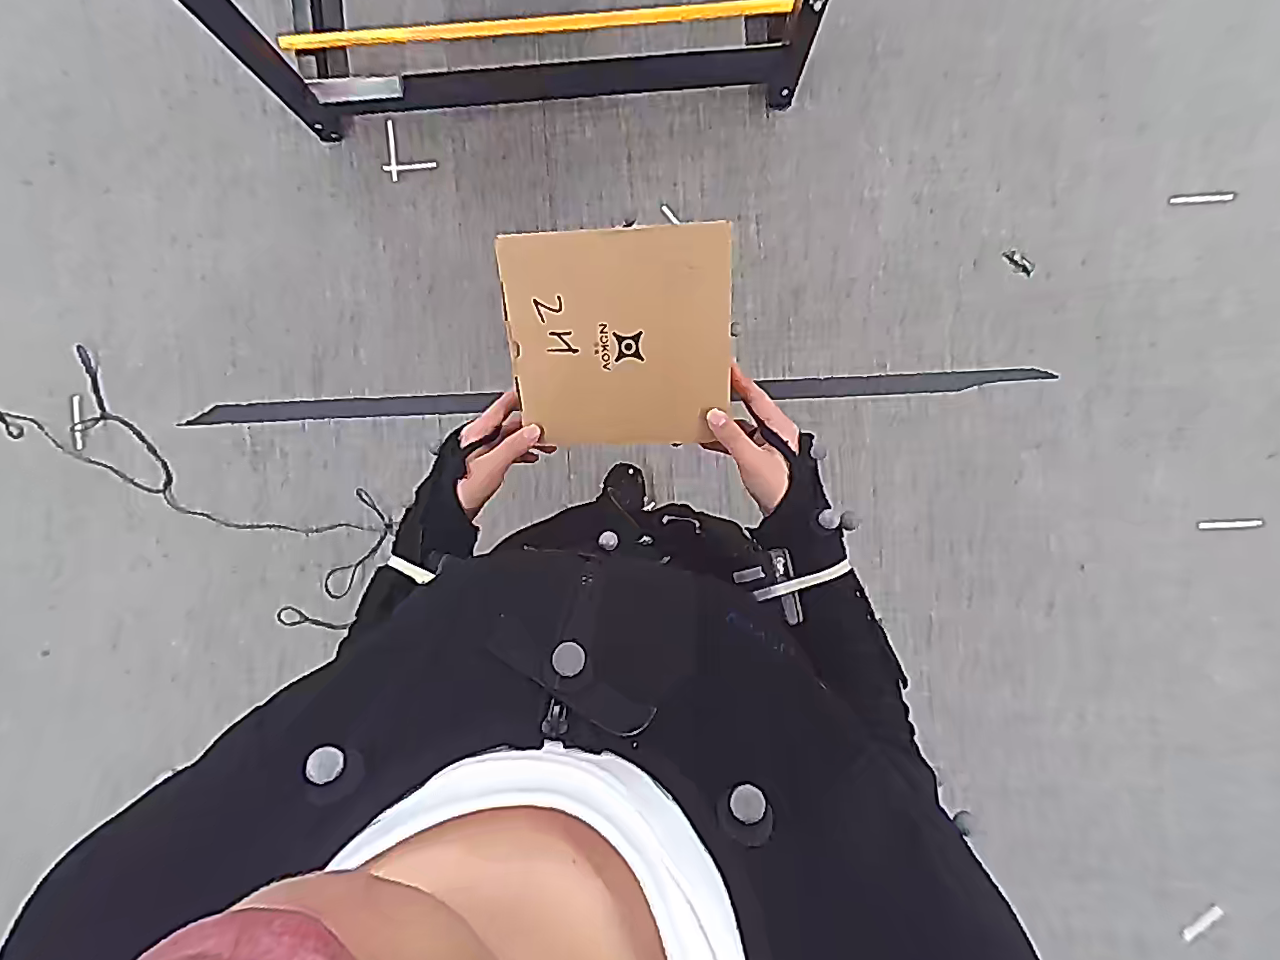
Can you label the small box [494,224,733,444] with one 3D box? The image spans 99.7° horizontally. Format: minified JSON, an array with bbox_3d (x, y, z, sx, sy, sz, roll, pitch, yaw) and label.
[{"bbox_3d":[-0.011,-0.138,0.490,0.179,0.176,0.168,0,114,7],"label":"small box"}]
